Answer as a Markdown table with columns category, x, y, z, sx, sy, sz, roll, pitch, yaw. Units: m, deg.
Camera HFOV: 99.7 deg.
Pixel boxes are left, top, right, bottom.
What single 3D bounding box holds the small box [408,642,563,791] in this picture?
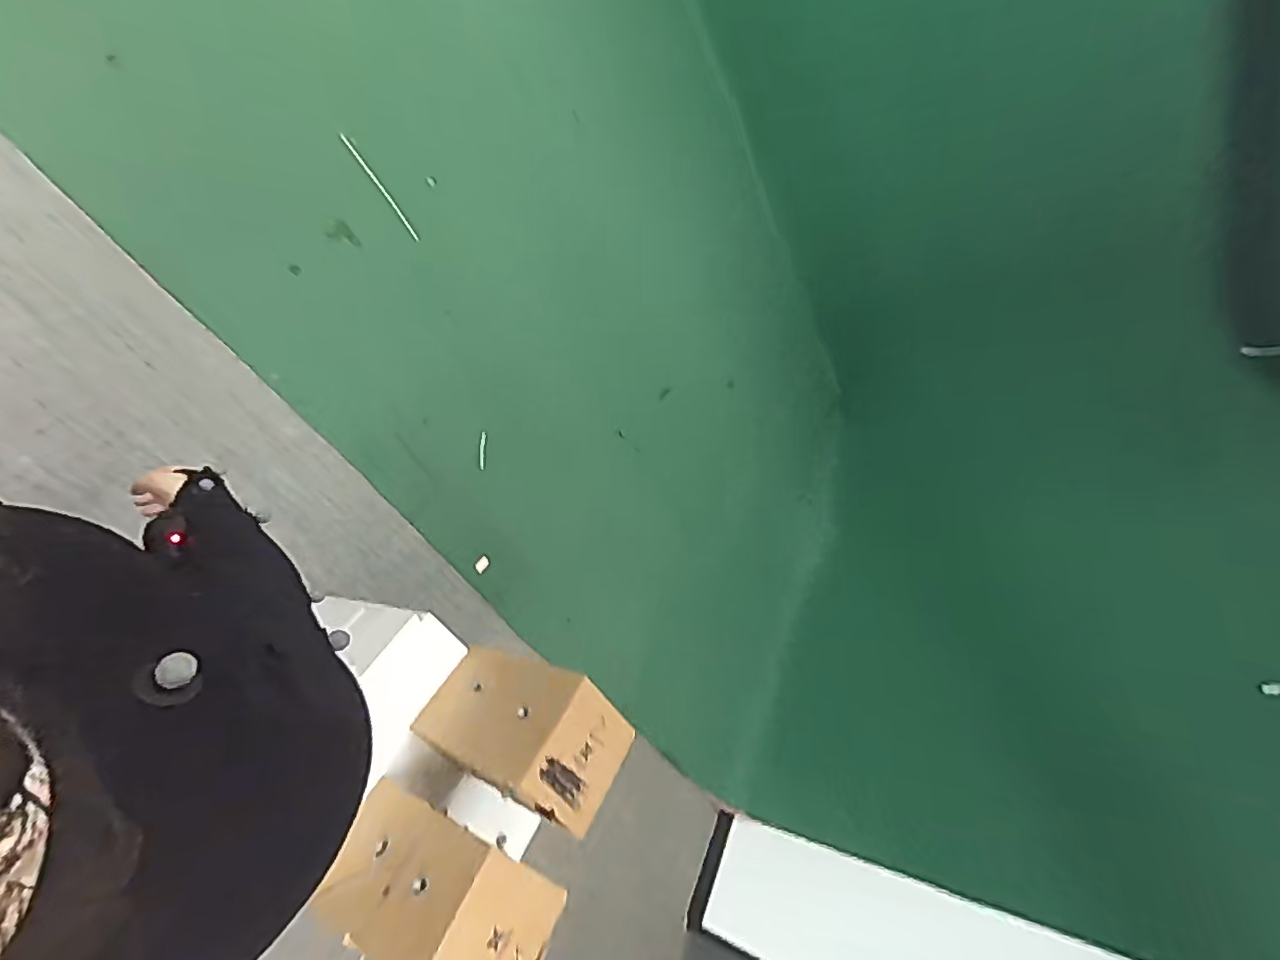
| category | x | y | z | sx | sy | sz | roll | pitch | yaw |
| --- | --- | --- | --- | --- | --- | --- | --- | --- | --- |
| small box | -0.283 | 0.421 | 0.991 | 0.179 | 0.176 | 0.168 | -54 | 125 | -35 |

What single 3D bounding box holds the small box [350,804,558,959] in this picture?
| category | x | y | z | sx | sy | sz | roll | pitch | yaw |
| --- | --- | --- | --- | --- | --- | --- | --- | --- | --- |
| small box | -0.256 | 0.581 | 0.749 | 0.179 | 0.176 | 0.168 | 56 | 48 | -30 |

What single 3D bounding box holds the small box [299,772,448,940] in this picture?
| category | x | y | z | sx | sy | sz | roll | pitch | yaw |
| --- | --- | --- | --- | --- | --- | --- | --- | --- | --- |
| small box | -0.386 | 0.595 | 0.849 | 0.168 | 0.176 | 0.179 | 58 | 47 | -28 |
